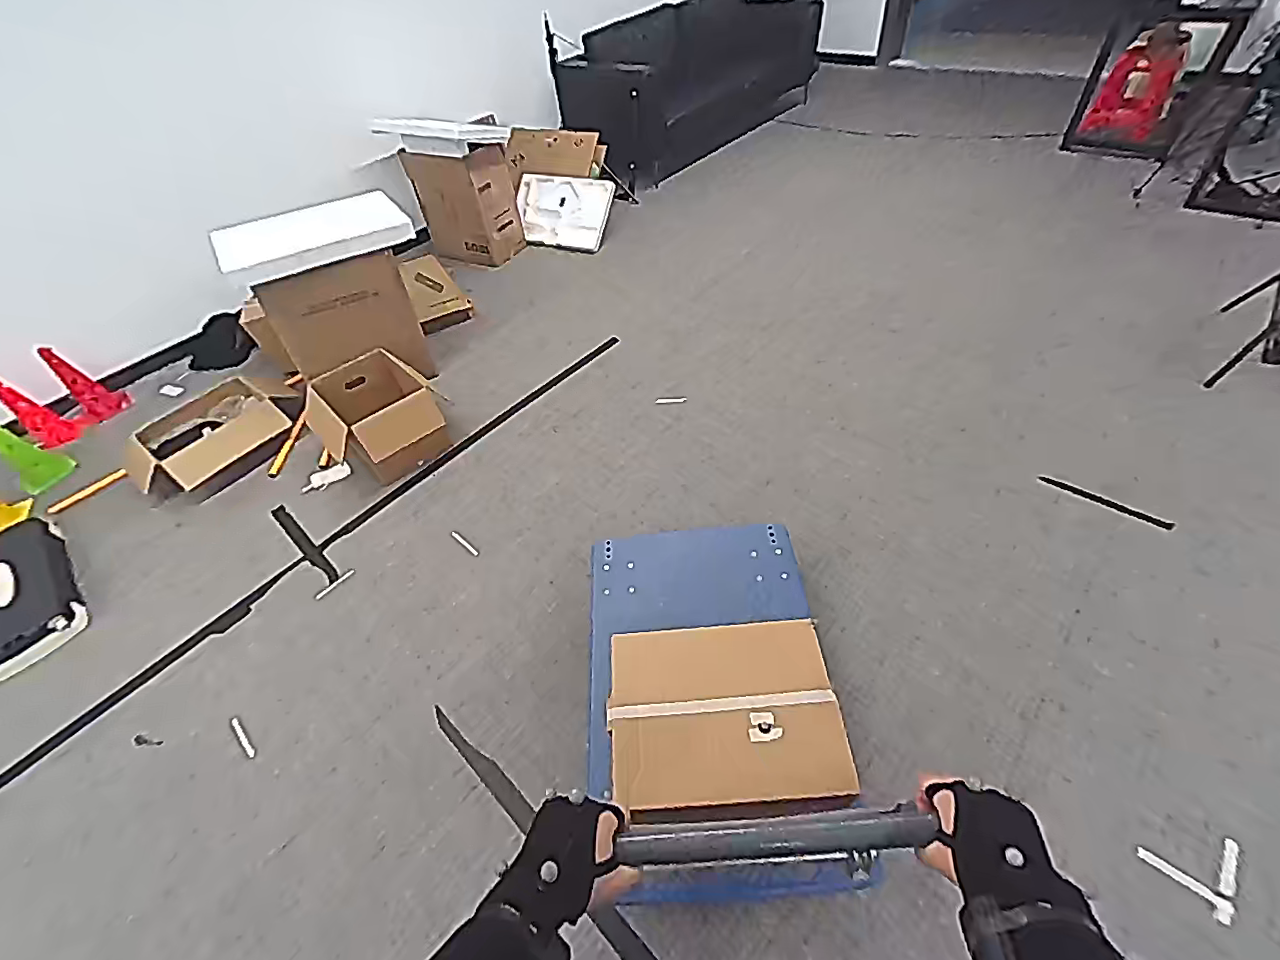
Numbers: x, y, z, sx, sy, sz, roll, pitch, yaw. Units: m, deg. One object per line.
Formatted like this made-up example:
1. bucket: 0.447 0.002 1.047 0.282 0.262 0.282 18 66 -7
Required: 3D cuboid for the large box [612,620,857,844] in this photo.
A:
1. large box: 0.161 0.512 1.092 0.408 0.320 0.320 -5 48 1
